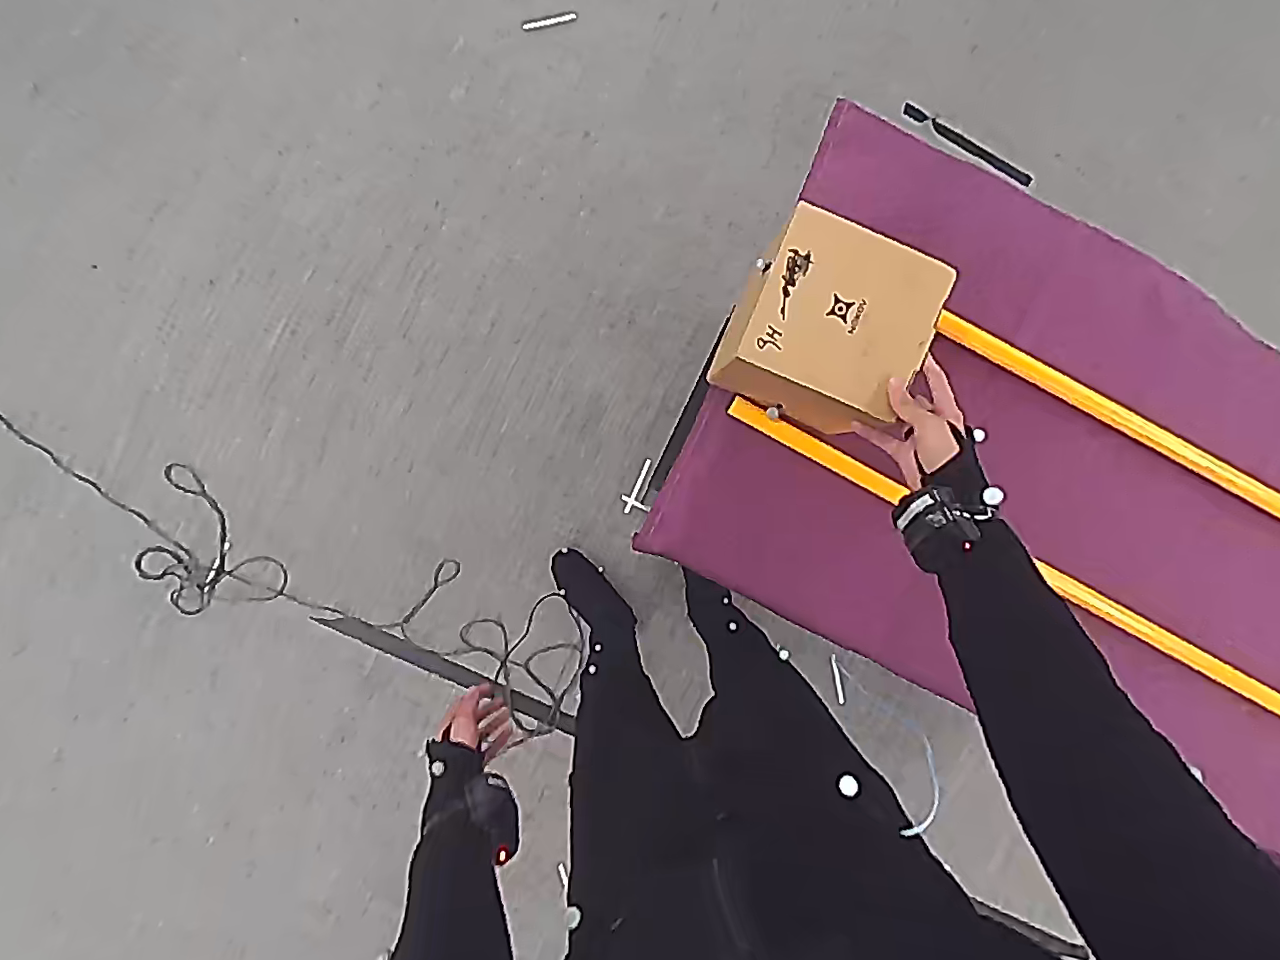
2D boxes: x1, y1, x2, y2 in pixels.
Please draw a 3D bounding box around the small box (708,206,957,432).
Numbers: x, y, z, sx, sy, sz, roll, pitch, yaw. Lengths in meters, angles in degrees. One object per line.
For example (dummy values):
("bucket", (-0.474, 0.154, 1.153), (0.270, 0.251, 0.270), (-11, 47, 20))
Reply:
("small box", (0.196, -0.160, 0.603), (0.179, 0.176, 0.168), (23, 90, -4))
